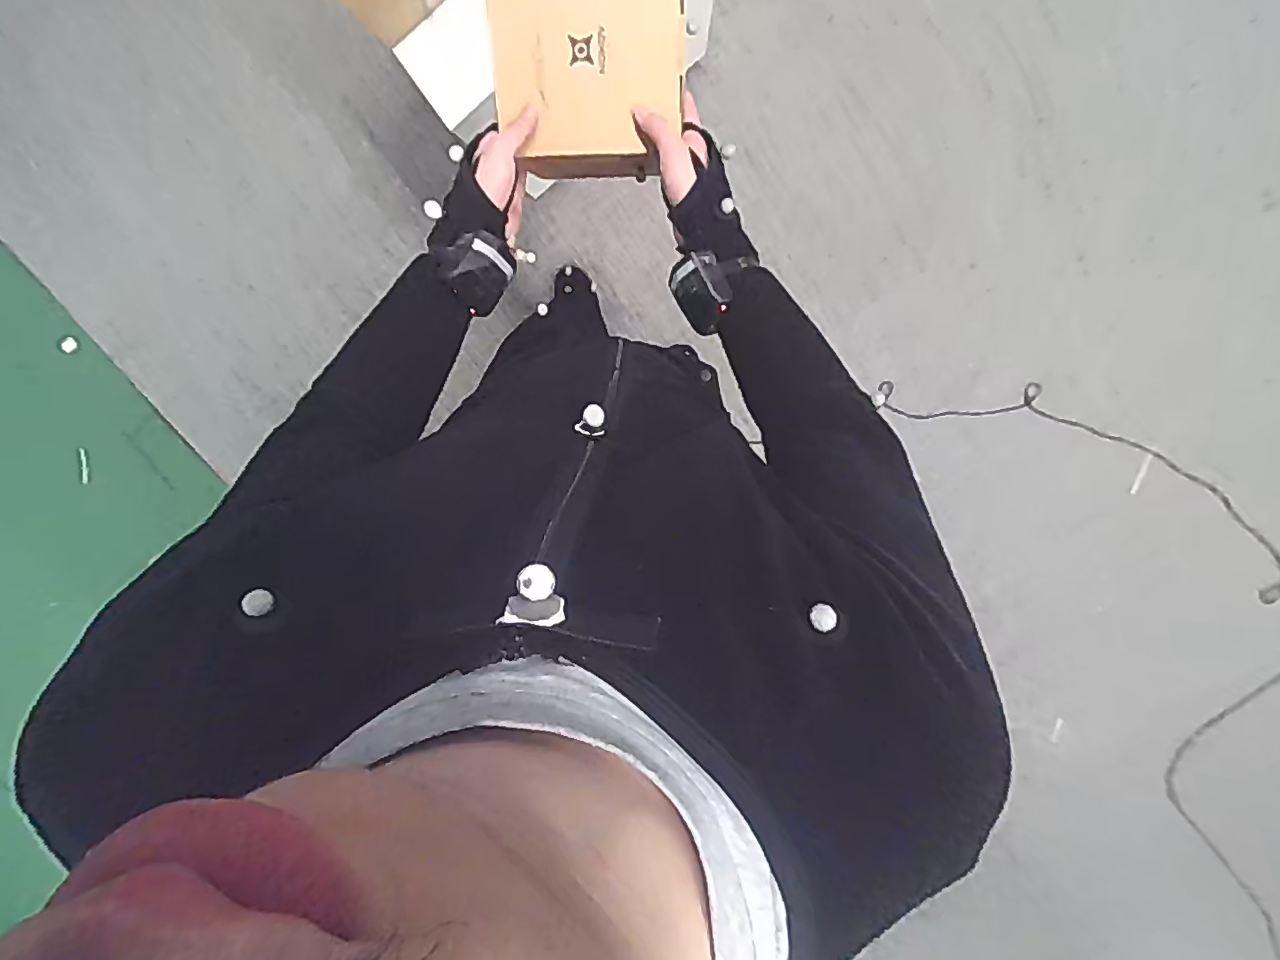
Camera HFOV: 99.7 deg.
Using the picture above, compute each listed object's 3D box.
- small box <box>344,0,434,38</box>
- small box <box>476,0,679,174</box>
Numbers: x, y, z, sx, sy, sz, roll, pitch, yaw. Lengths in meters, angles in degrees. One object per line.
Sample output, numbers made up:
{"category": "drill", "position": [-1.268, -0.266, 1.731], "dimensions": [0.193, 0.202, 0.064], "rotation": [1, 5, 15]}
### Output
{"category": "small box", "position": [-0.340, -0.713, 0.666], "dimensions": [0.179, 0.176, 0.168], "rotation": [-34, 103, 10]}
{"category": "small box", "position": [-0.049, -0.416, 0.546], "dimensions": [0.179, 0.176, 0.168], "rotation": [0, 112, 6]}
